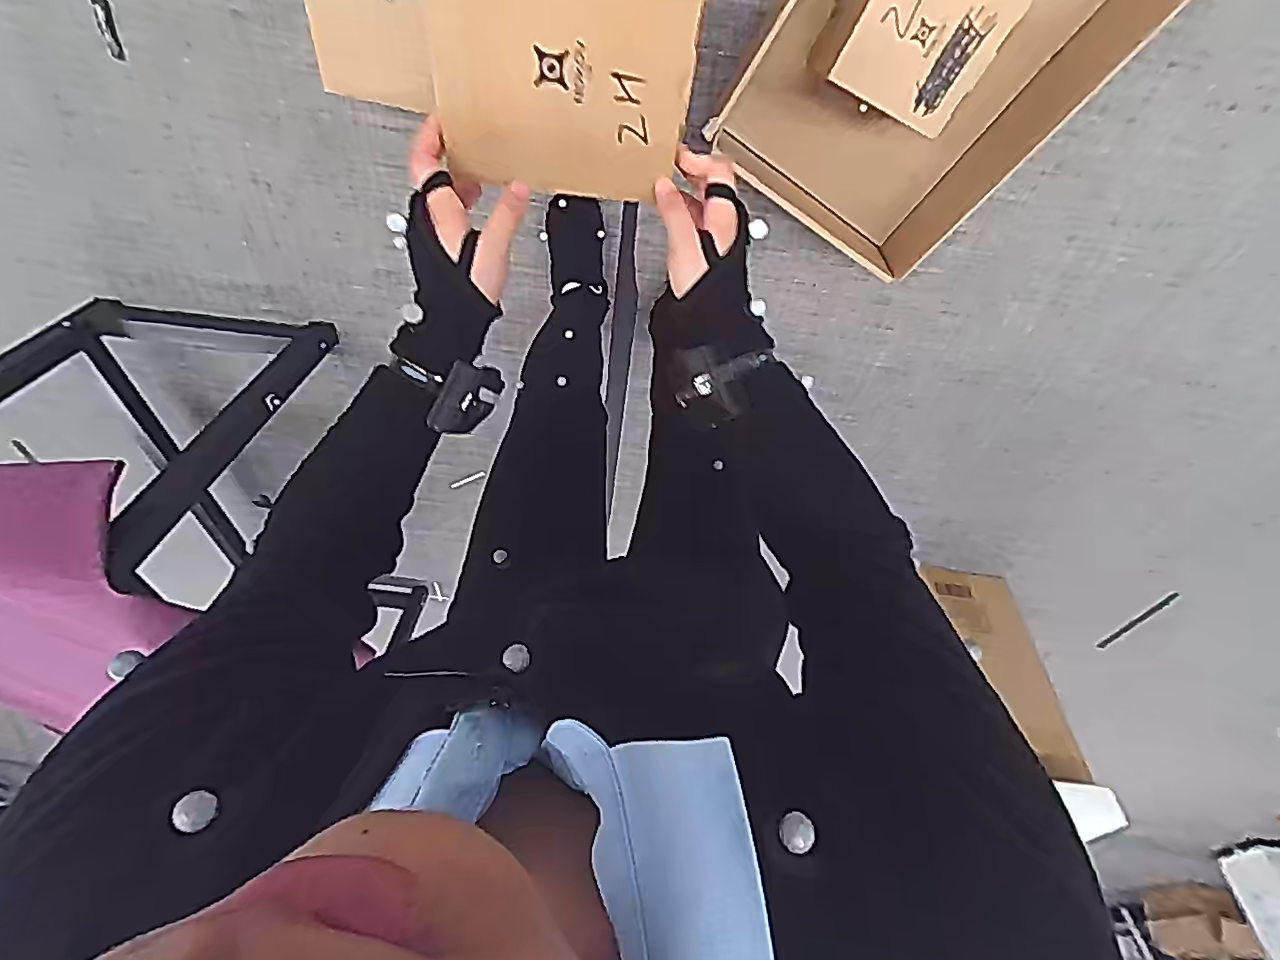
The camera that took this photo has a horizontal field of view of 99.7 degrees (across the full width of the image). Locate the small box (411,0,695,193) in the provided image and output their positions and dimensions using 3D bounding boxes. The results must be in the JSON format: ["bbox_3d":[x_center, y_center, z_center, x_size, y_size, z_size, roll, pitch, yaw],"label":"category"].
[{"bbox_3d":[-0.060,-0.345,0.399,0.179,0.176,0.168,2,146,-9],"label":"small box"}]
